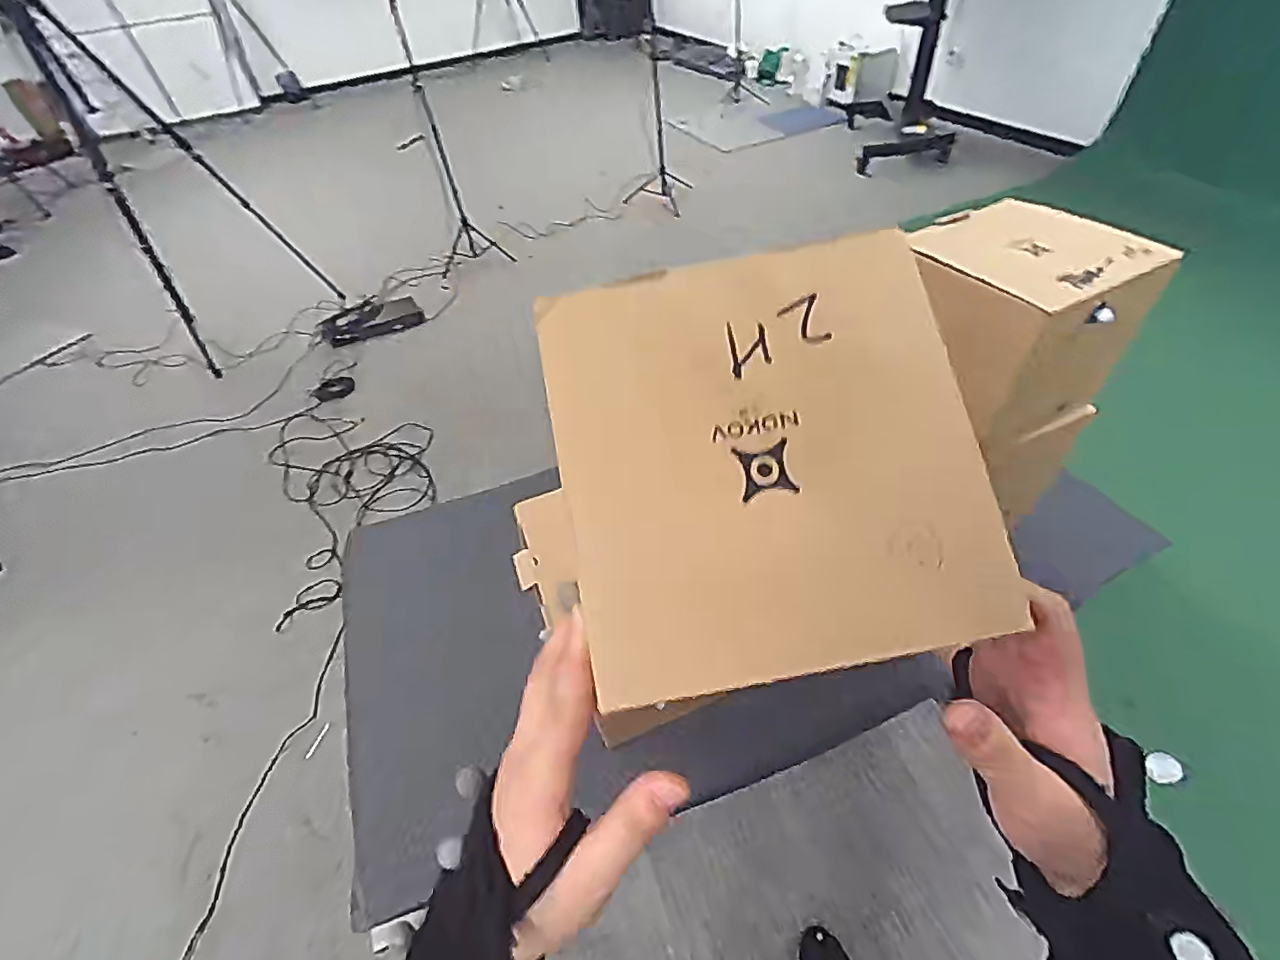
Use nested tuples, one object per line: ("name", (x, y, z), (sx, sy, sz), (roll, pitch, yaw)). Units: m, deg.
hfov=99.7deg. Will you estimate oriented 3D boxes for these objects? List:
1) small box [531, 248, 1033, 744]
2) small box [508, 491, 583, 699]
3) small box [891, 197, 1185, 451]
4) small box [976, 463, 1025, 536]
("small box", (0.052, 0.015, 0.290), (0.168, 0.176, 0.179), (-11, 77, 1))
("small box", (-0.024, 0.109, 0.590), (0.179, 0.176, 0.168), (-19, 49, -11))
("small box", (0.366, -0.161, 0.556), (0.168, 0.176, 0.179), (-24, 48, -13))
("small box", (0.402, 0.059, 0.797), (0.168, 0.176, 0.179), (-21, 48, -11))
